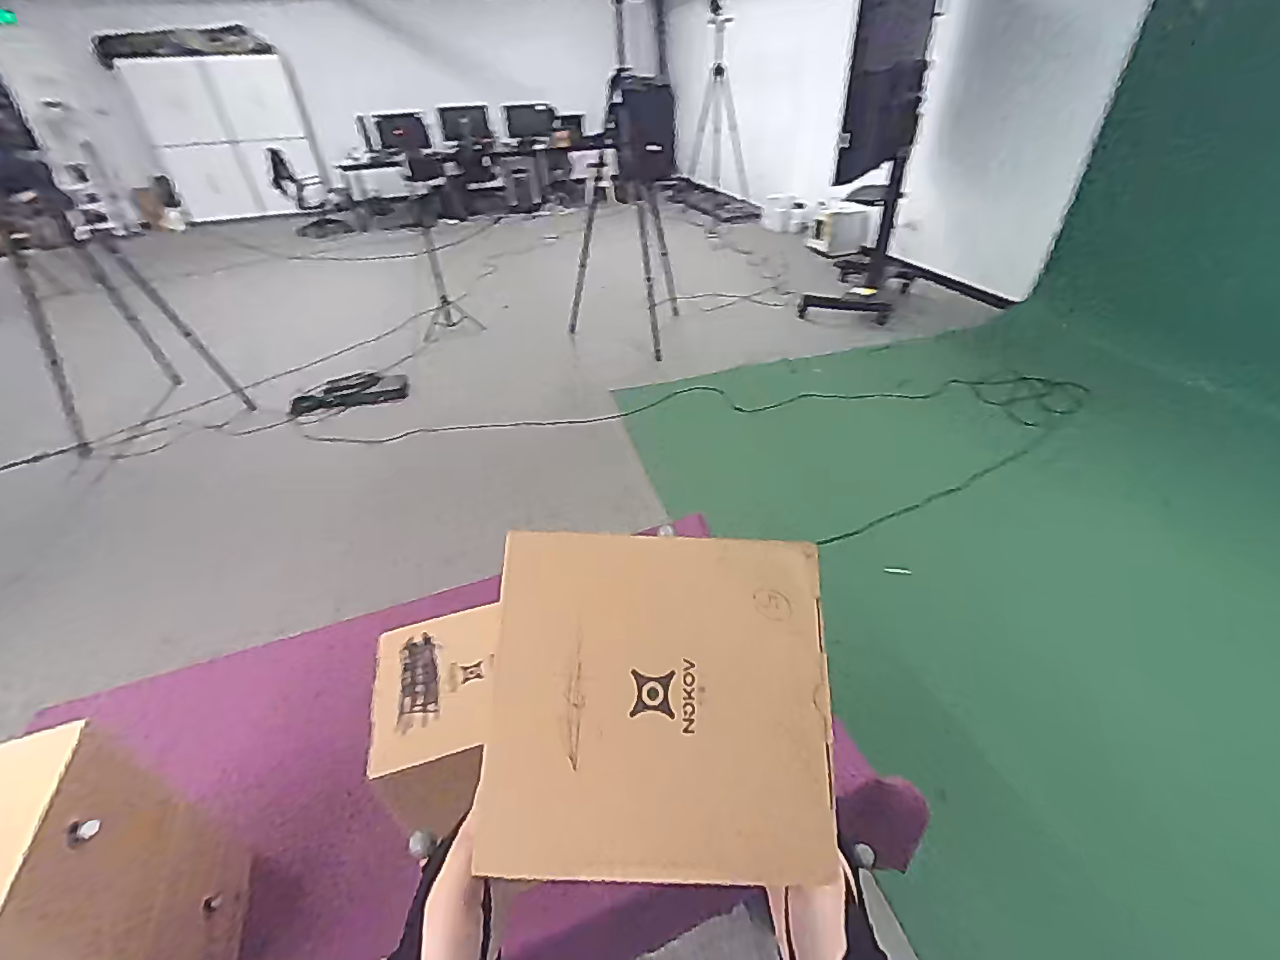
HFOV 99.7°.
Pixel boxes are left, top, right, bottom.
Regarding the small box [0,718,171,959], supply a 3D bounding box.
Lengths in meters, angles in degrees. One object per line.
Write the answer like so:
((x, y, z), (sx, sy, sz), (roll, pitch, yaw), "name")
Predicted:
((-0.583, 0.364, 0.497), (0.168, 0.176, 0.179), (-15, 40, -16), "small box")

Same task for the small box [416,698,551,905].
((-0.172, 0.399, 0.692), (0.179, 0.176, 0.168), (-13, 39, -14), "small box")

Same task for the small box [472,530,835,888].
((0.010, 0.134, 0.355), (0.179, 0.176, 0.168), (3, 72, 0), "small box")
